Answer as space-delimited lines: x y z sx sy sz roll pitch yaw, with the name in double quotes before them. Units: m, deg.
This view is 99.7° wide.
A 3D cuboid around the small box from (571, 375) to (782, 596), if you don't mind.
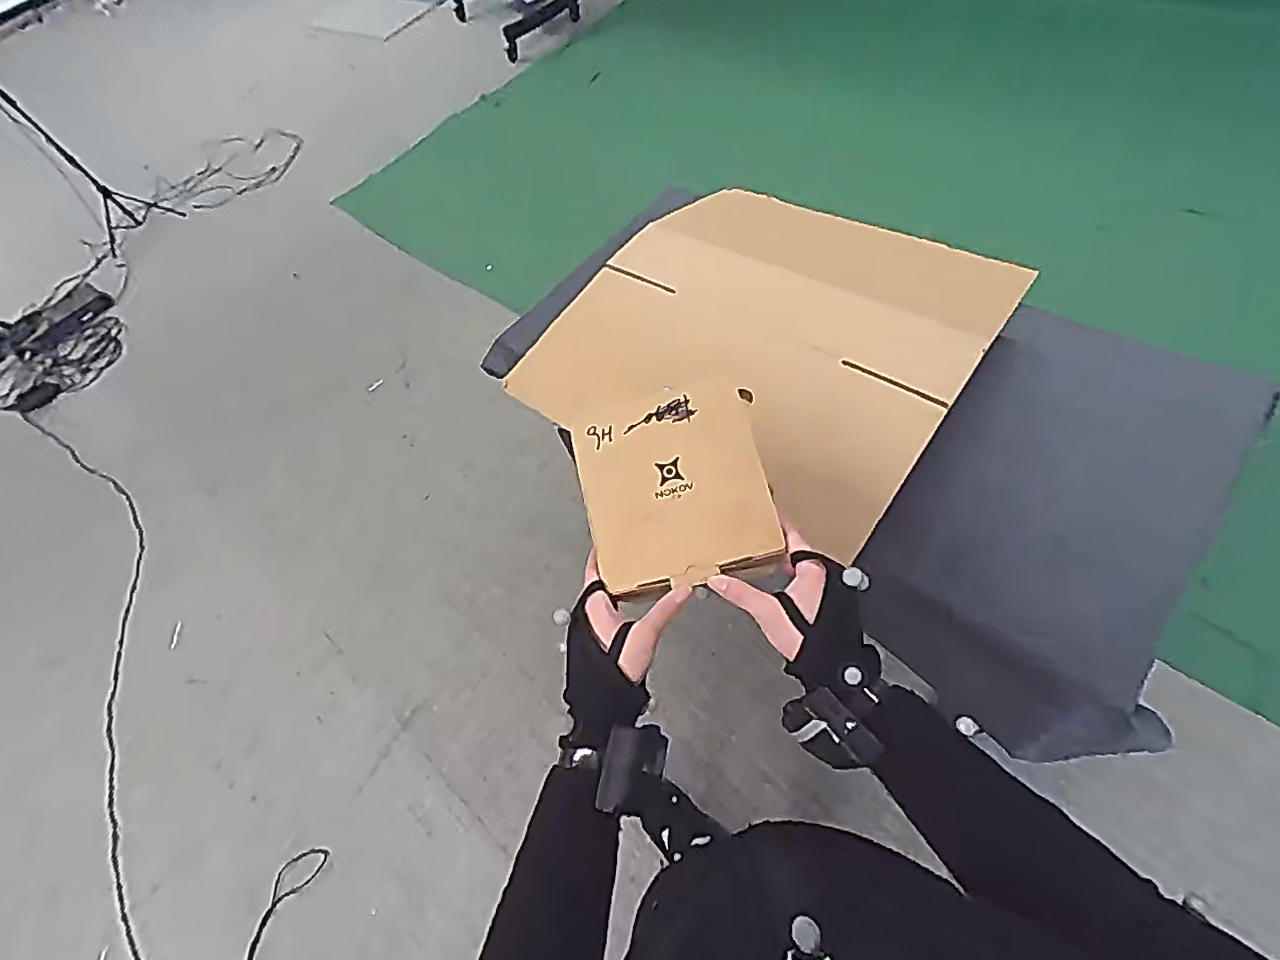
"small box" 0.043 0.021 0.579 0.168 0.176 0.179 -17 72 5
